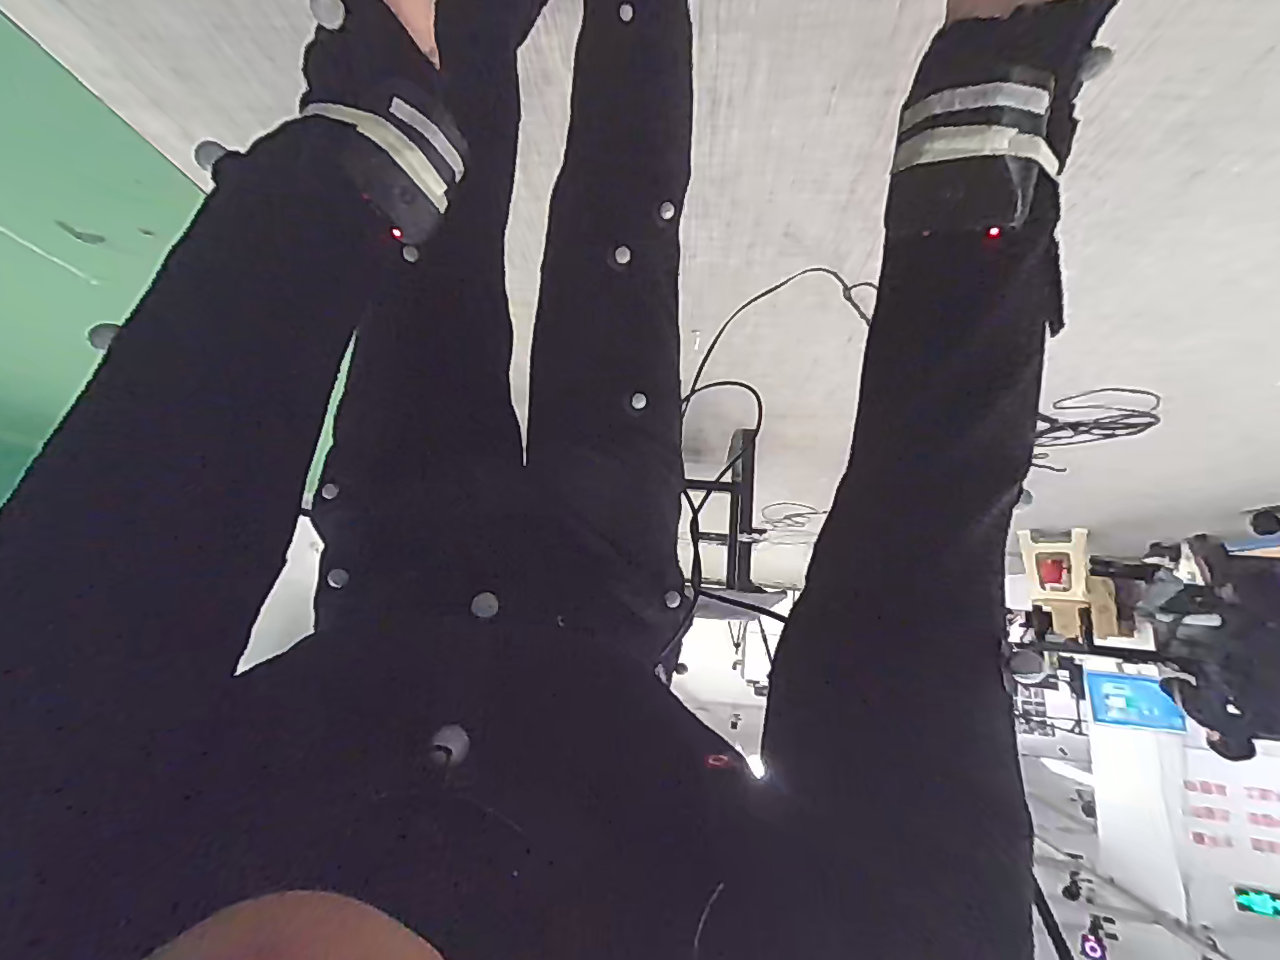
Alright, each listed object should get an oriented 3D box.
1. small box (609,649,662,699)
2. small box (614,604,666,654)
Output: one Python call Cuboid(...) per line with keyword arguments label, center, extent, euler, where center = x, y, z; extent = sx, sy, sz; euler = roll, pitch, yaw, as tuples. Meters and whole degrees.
Cuboid(label="small box", center=(-0.011, 0.743, 2.104), extent=(0.179, 0.176, 0.168), euler=(4, 165, 11))
Cuboid(label="small box", center=(0.006, 0.583, 2.126), extent=(0.168, 0.176, 0.179), euler=(2, 166, 14))
